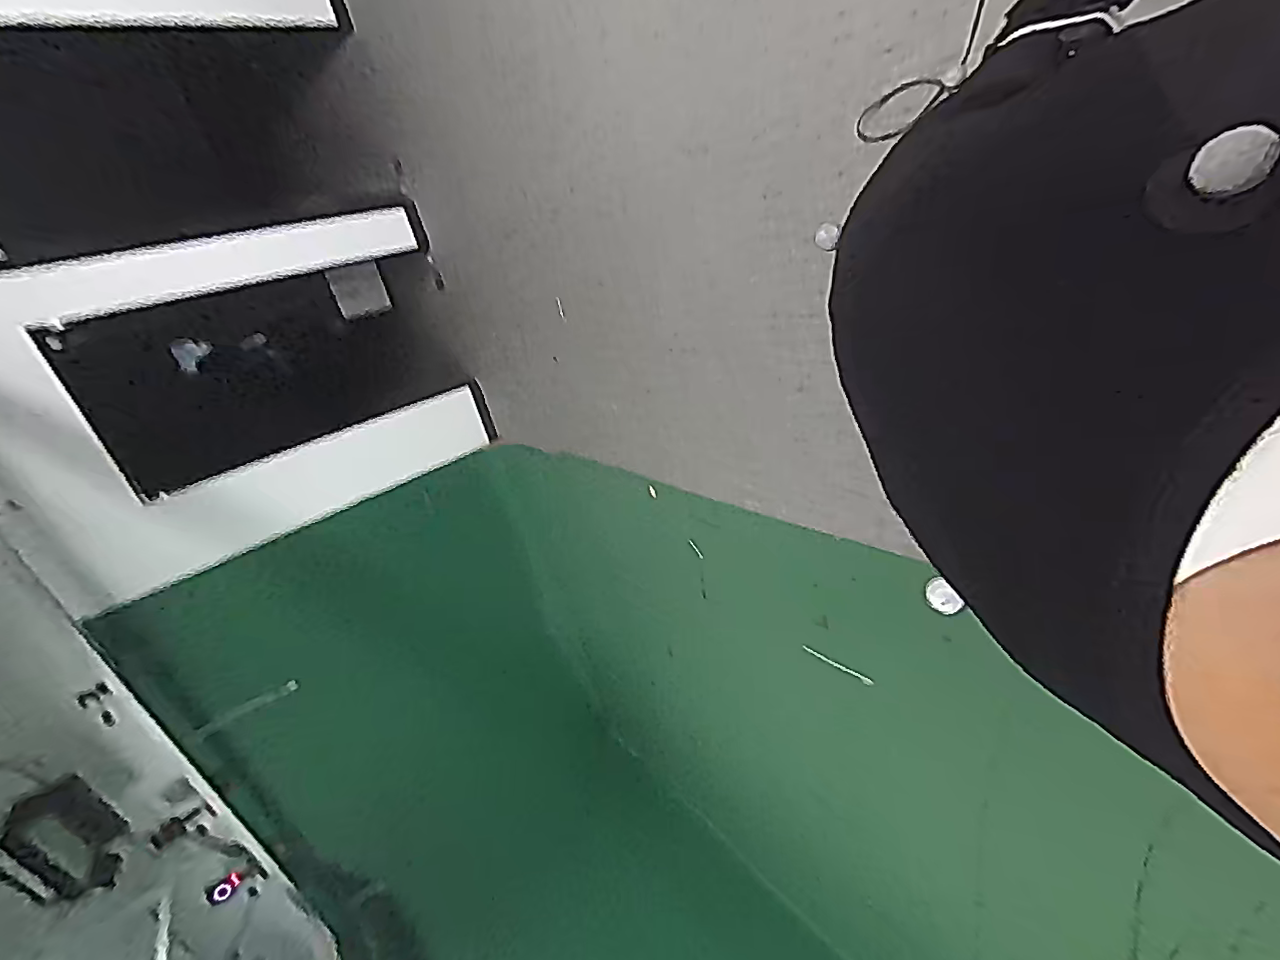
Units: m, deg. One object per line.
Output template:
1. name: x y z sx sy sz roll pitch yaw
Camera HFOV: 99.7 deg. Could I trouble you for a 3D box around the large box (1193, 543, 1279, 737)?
1. large box: 1.147 0.276 0.761 0.408 0.320 0.320 48 146 19
